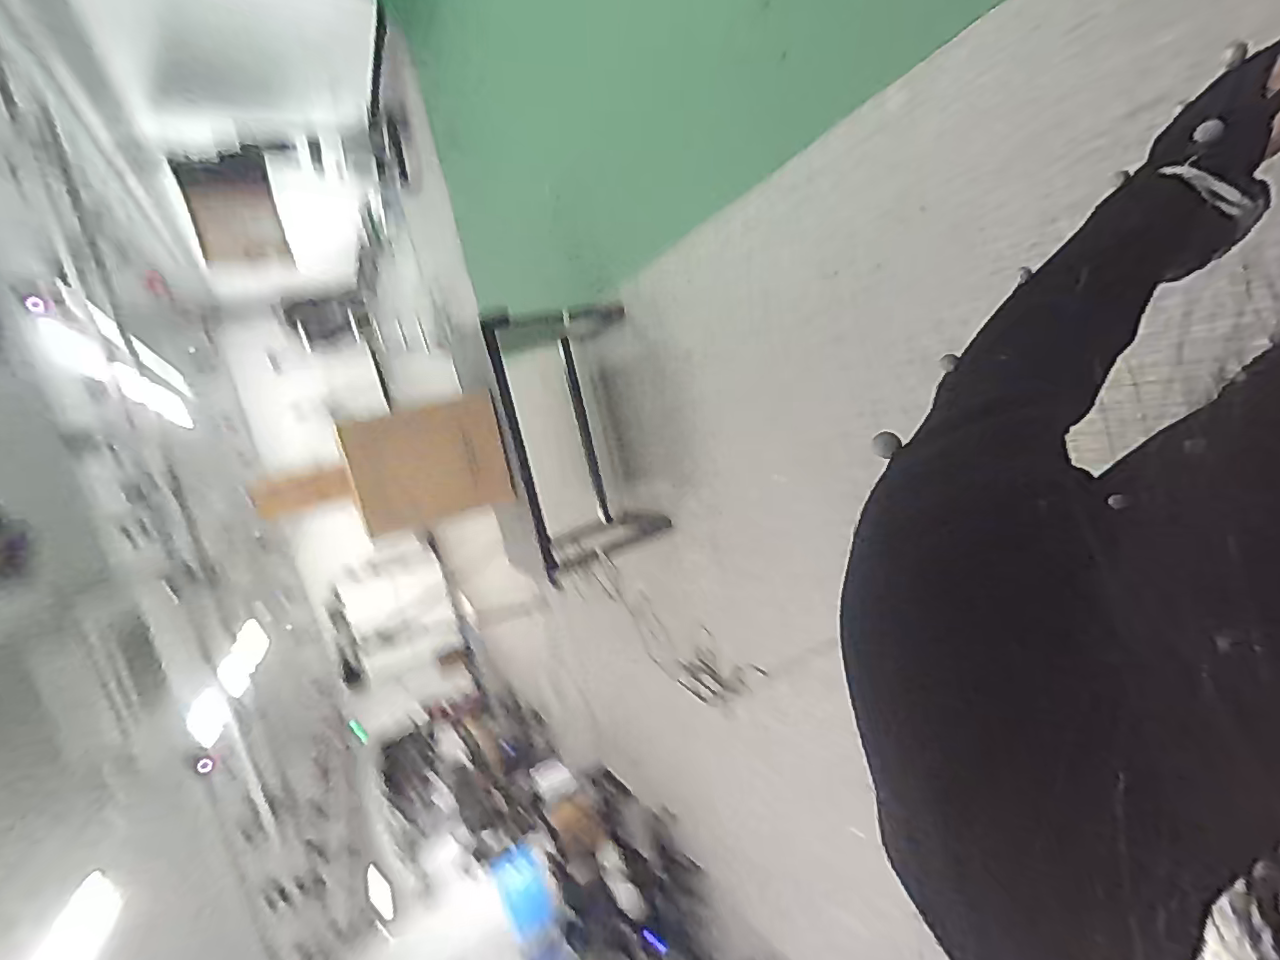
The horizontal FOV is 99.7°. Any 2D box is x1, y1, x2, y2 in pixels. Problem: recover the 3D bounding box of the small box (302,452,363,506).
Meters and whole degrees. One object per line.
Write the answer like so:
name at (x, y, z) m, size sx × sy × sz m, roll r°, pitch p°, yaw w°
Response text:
small box at (-1.250, -0.010, 2.196) m, size 0.168 × 0.176 × 0.179 m, roll 10°, pitch 116°, yaw 56°
